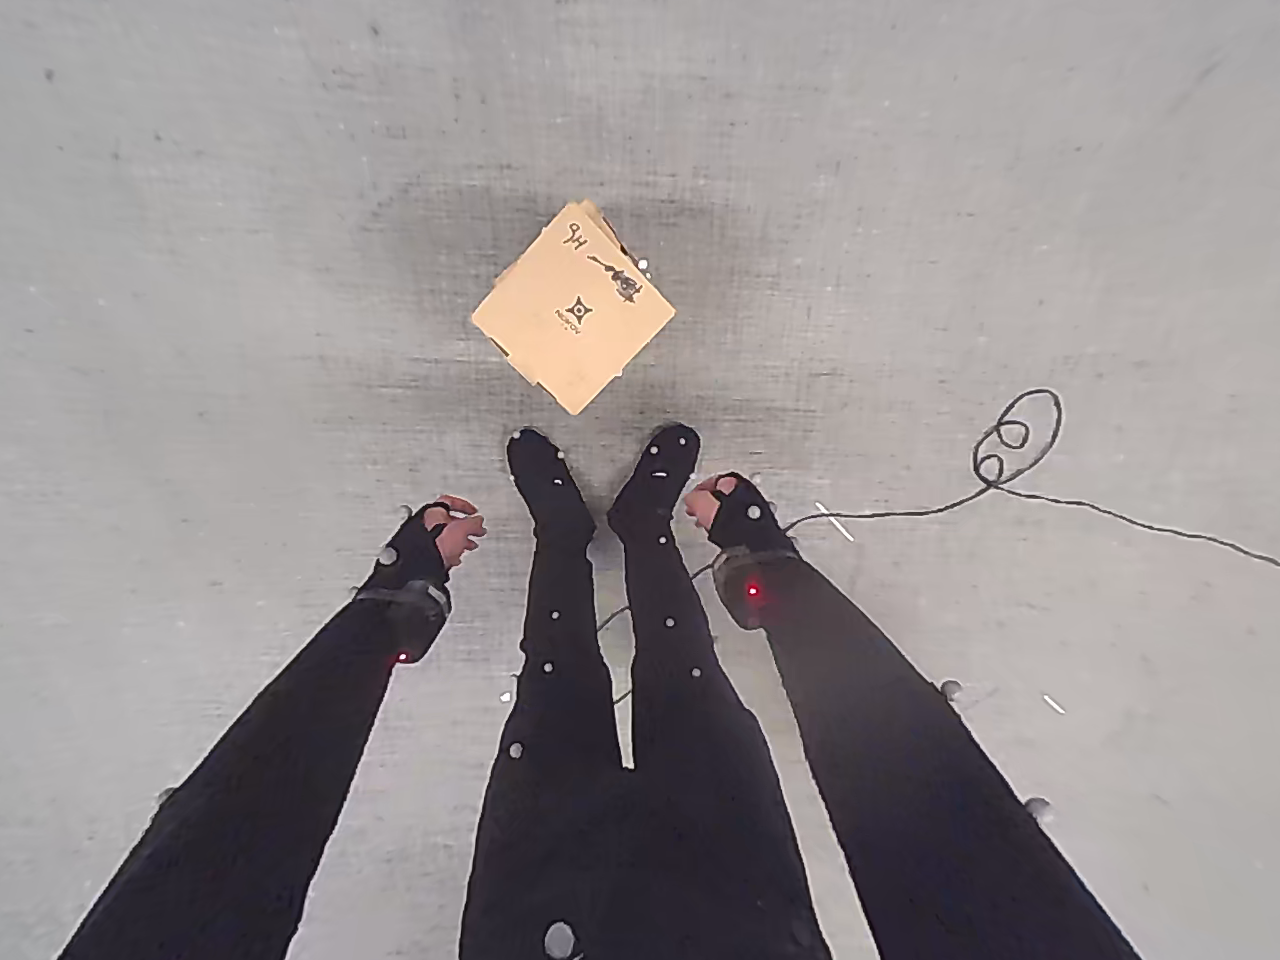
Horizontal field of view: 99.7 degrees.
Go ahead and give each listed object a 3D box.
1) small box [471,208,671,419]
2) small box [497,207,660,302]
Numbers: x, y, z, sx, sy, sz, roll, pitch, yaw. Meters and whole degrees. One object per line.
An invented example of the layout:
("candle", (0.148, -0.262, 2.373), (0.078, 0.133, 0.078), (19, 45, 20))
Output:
("small box", (-0.080, -0.210, 0.694), (0.179, 0.176, 0.168), (-43, 107, 12))
("small box", (-0.092, -0.288, 0.838), (0.179, 0.176, 0.168), (-37, 108, 10))
